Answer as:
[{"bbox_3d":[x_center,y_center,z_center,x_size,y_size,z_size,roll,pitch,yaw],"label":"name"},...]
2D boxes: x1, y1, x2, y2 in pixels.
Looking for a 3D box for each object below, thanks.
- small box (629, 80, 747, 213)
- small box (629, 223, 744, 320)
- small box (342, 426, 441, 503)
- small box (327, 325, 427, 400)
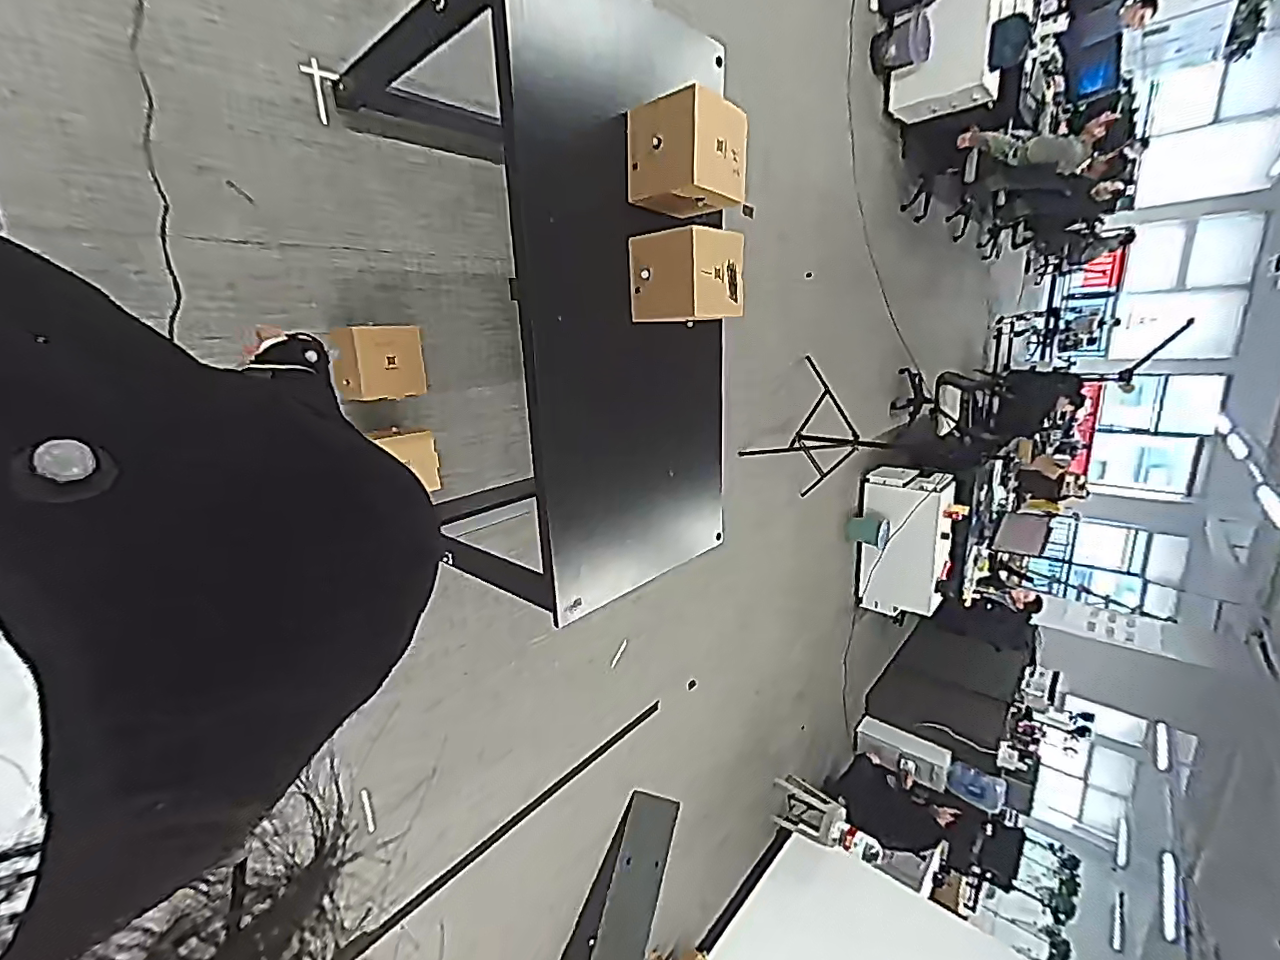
[{"bbox_3d":[0.092,-0.642,1.068,0.179,0.176,0.168,-14,109,-47],"label":"small box"},{"bbox_3d":[0.097,-0.423,1.119,0.179,0.176,0.168,-19,112,-44],"label":"small box"},{"bbox_3d":[-0.665,-0.048,1.447,0.179,0.176,0.168,-19,111,-45],"label":"small box"},{"bbox_3d":[-0.675,-0.304,1.386,0.168,0.176,0.179,-19,111,-46],"label":"small box"}]
